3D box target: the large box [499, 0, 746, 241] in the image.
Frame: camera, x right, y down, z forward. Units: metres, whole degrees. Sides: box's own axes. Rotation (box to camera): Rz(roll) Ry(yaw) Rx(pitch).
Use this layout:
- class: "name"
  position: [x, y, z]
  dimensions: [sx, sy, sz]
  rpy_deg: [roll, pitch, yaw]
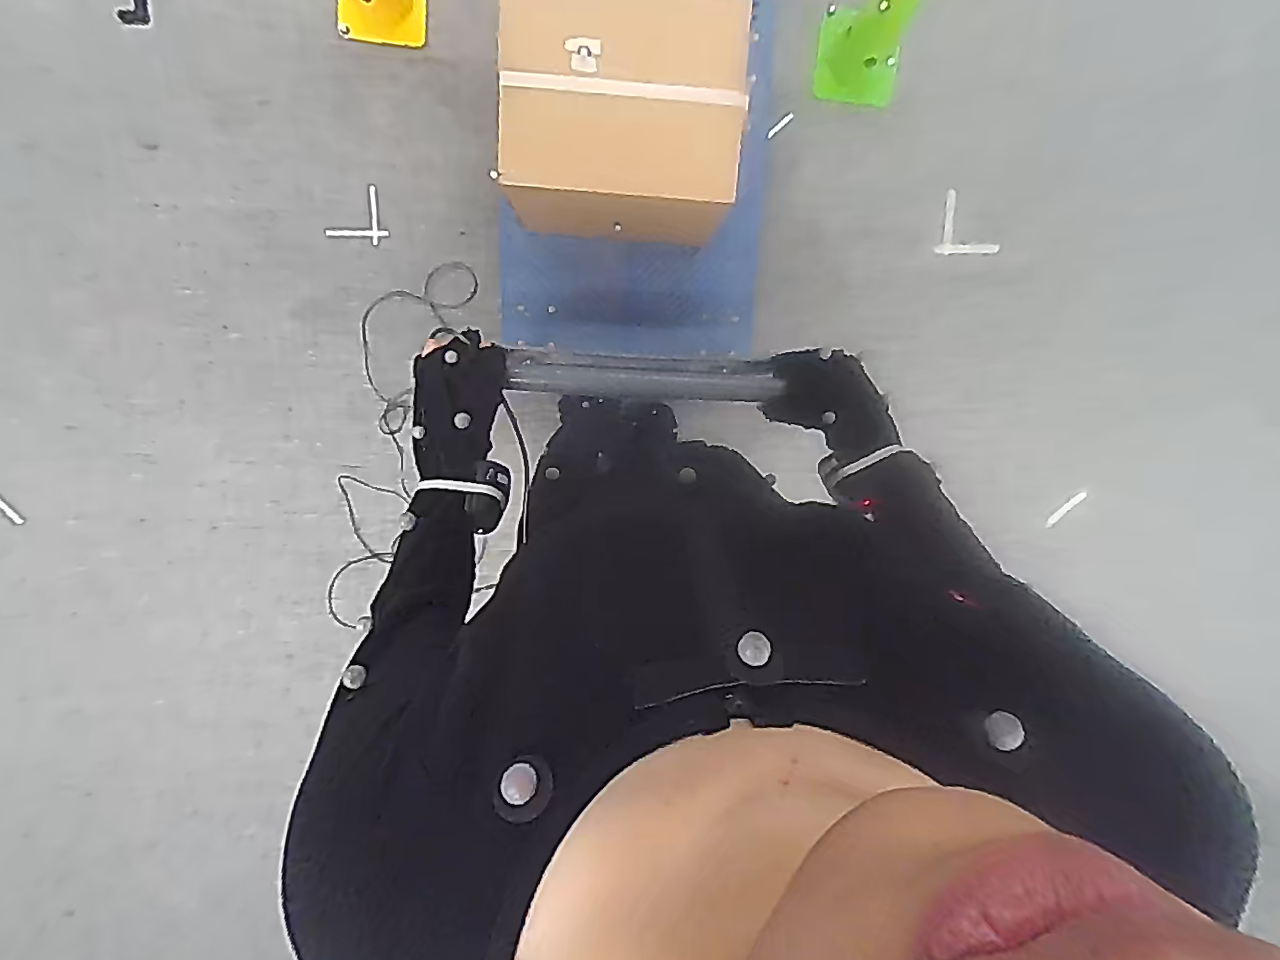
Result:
- class: "large box"
  position: [-0.036, -0.663, 1.037]
  dimensions: [0.408, 0.320, 0.320]
  rpy_deg: [3, 100, -2]

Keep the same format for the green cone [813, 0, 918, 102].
- class: "green cone"
  position: [0.537, -1.010, 1.146]
  dimensions: [0.202, 0.368, 0.200]
  rpy_deg: [5, 100, -5]
